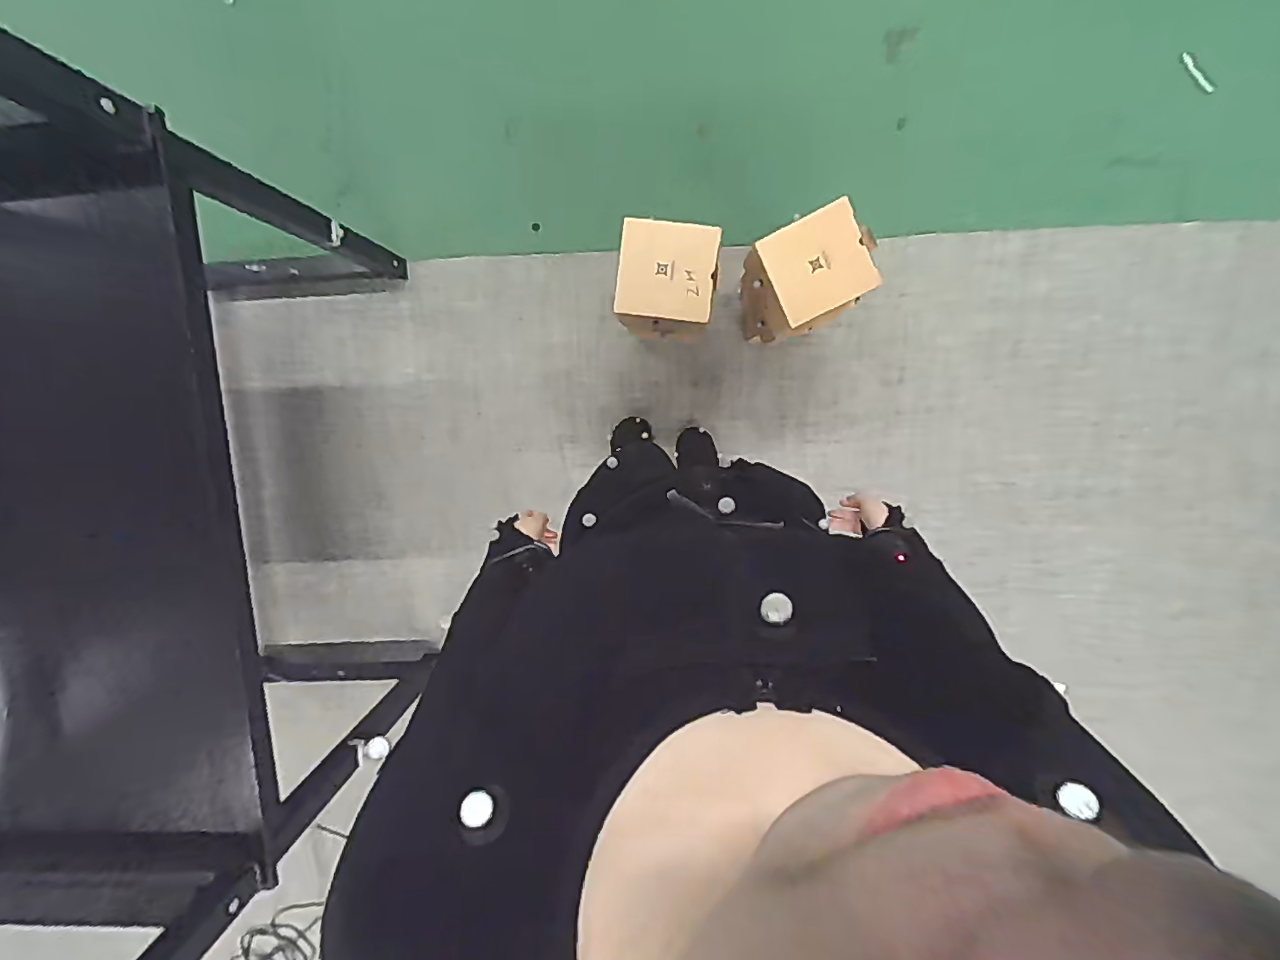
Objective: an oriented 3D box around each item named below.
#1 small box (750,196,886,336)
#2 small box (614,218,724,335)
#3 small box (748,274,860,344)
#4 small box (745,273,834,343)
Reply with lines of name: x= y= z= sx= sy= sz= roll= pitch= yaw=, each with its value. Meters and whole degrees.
small box: x=0.317 y=-0.384 z=1.011 sx=0.179 sy=0.176 sz=0.168 roll=-26 pitch=97 yaw=6
small box: x=0.055 y=-0.374 z=1.023 sx=0.179 sy=0.176 sz=0.168 roll=8 pitch=99 yaw=3
small box: x=0.343 y=-0.405 z=1.172 sx=0.179 sy=0.176 sz=0.168 roll=-21 pitch=98 yaw=5
small box: x=0.359 y=-0.439 z=1.329 sx=0.179 sy=0.176 sz=0.168 roll=-9 pitch=98 yaw=4
